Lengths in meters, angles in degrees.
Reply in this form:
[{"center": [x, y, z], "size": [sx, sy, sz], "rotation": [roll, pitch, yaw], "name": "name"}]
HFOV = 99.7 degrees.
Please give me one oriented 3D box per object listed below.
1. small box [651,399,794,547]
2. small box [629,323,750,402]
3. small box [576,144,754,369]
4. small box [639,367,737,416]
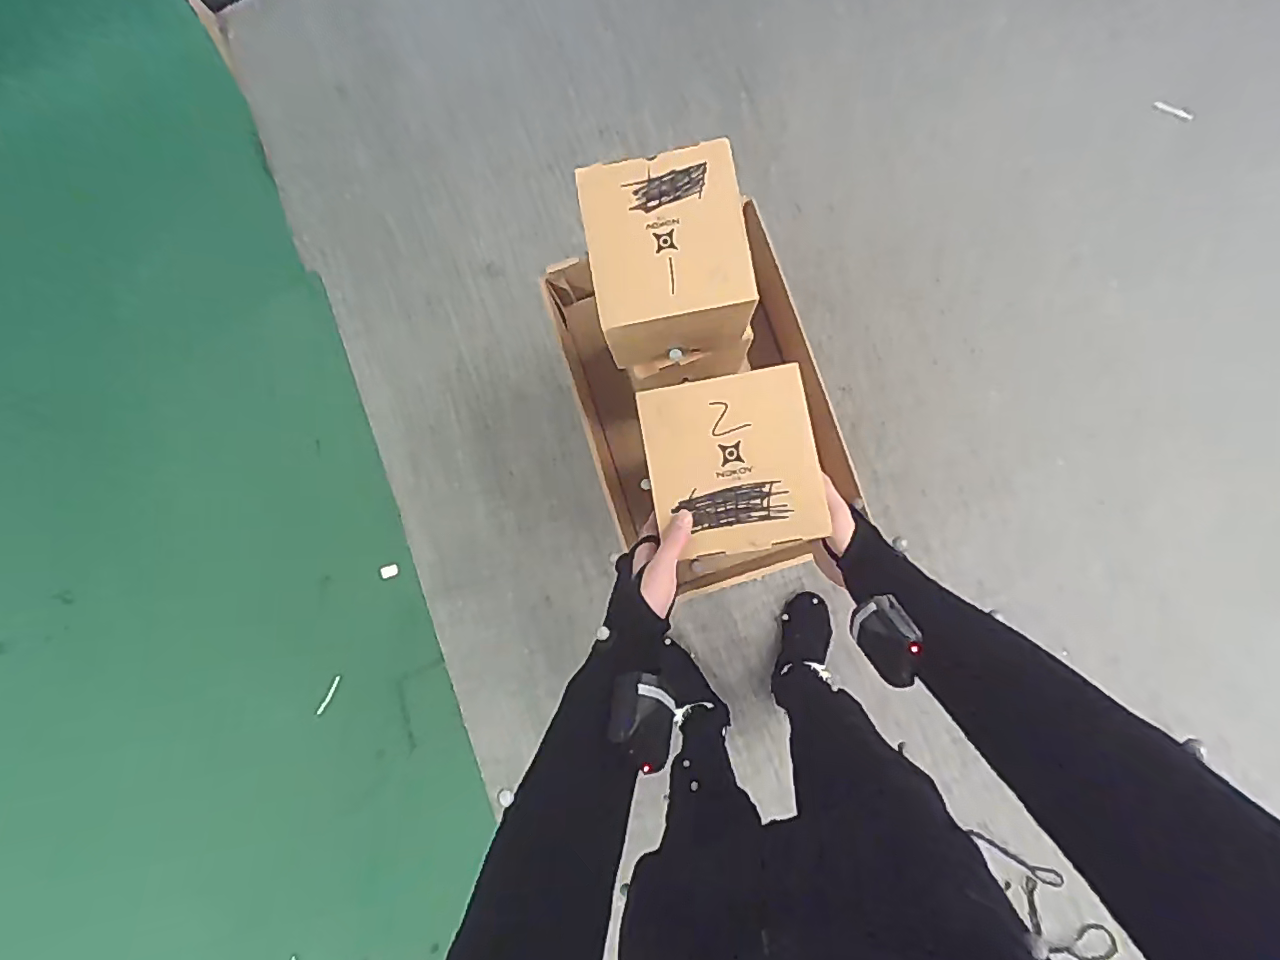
[{"center": [0.112, -0.001, 0.773], "size": [0.168, 0.176, 0.179], "rotation": [-8, 82, 4], "name": "small box"}, {"center": [0.048, -0.235, 0.805], "size": [0.168, 0.176, 0.179], "rotation": [-20, 86, 3], "name": "small box"}, {"center": [0.029, -0.248, 0.642], "size": [0.168, 0.176, 0.179], "rotation": [-10, 87, 4], "name": "small box"}, {"center": [0.062, -0.228, 0.966], "size": [0.168, 0.176, 0.179], "rotation": [-19, 85, 4], "name": "small box"}]
